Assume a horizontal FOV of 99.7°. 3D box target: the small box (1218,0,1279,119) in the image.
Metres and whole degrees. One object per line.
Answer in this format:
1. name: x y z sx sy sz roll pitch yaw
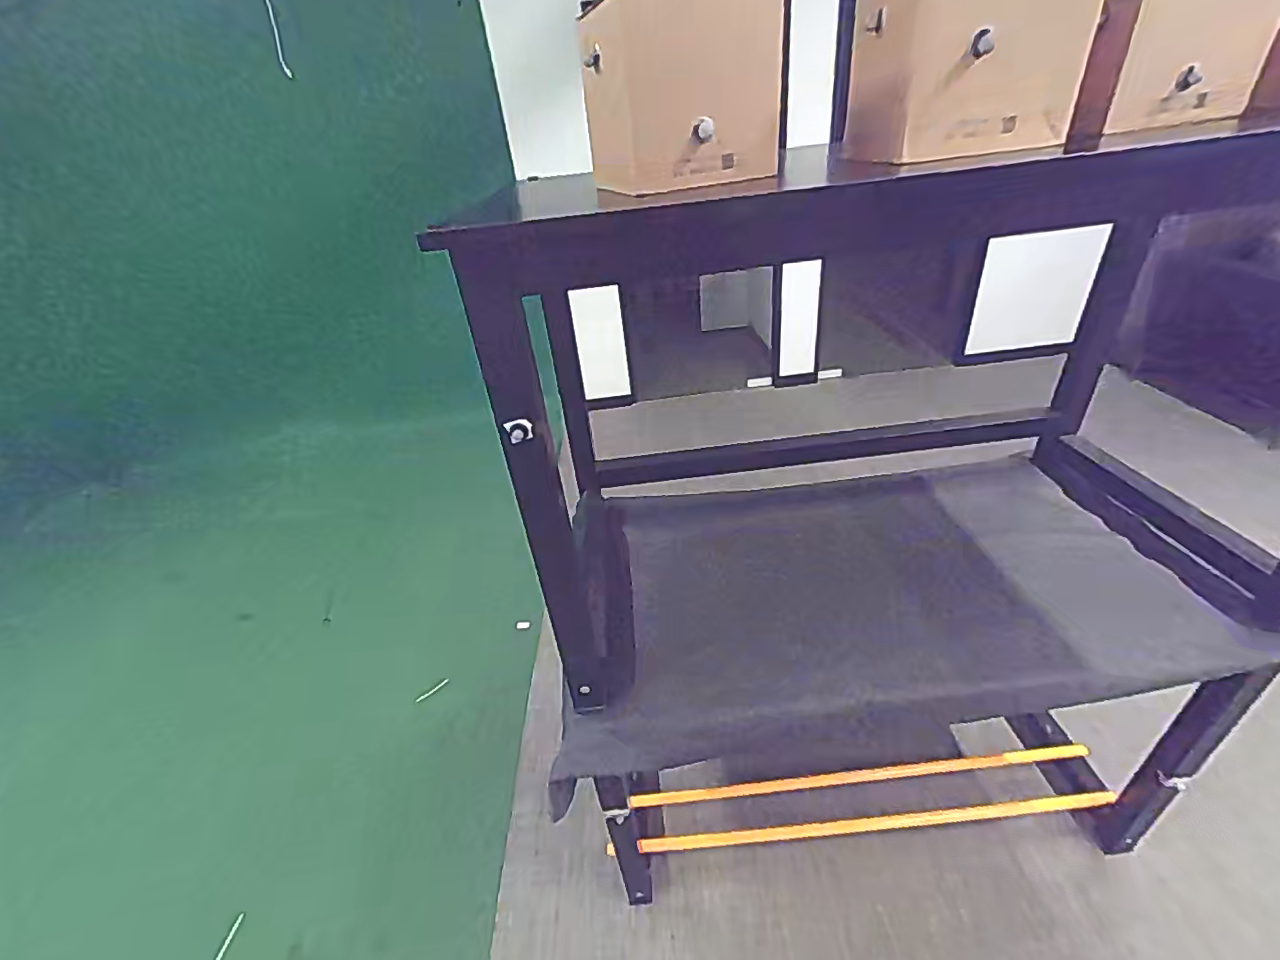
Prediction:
1. small box: 0.799 -0.494 0.572 0.168 0.176 0.179 0 33 10

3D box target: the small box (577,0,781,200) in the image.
1. small box: 0.036 -0.416 0.599 0.168 0.176 0.179 -15 35 -12
